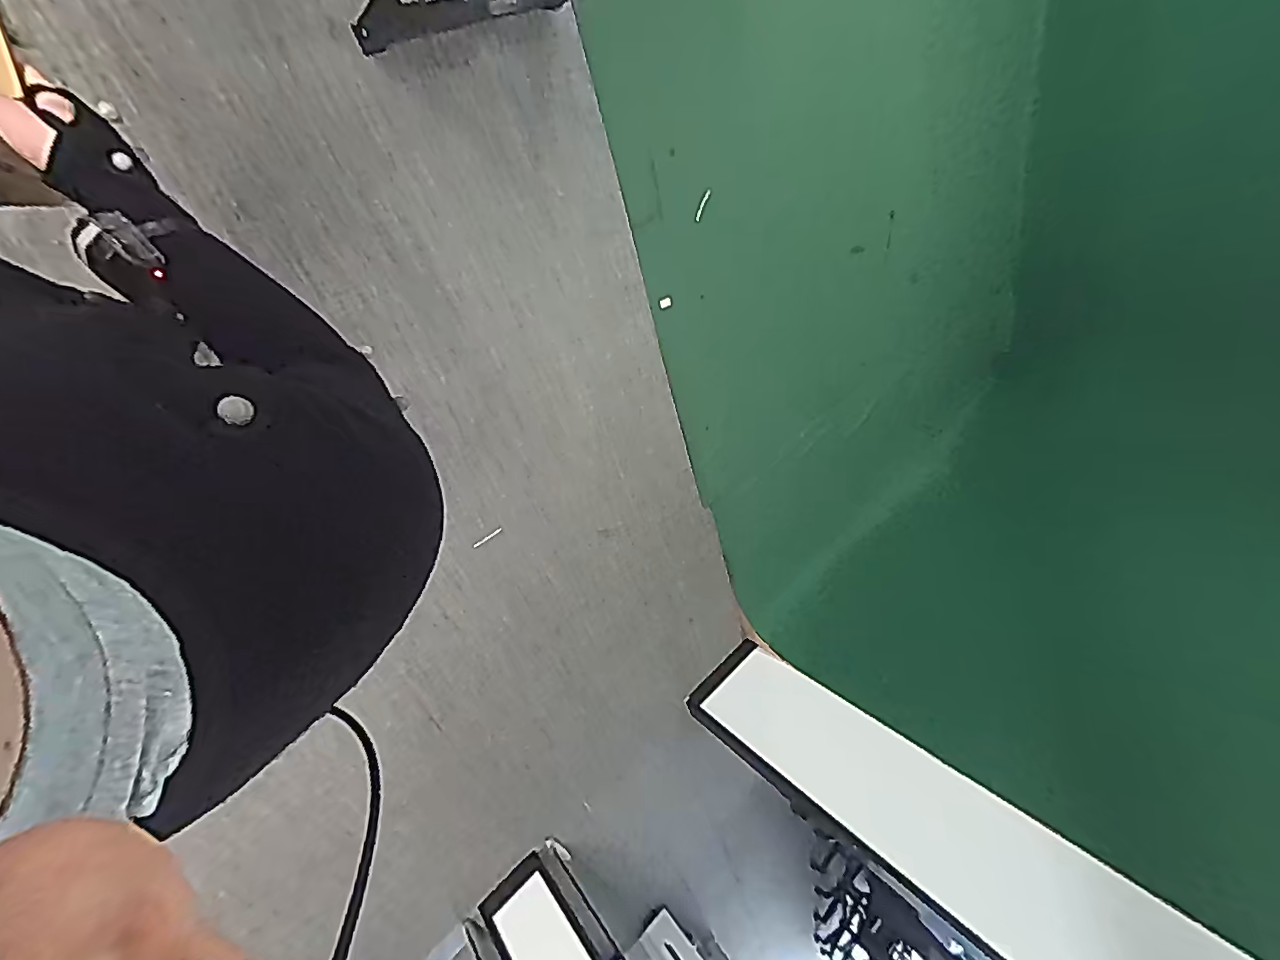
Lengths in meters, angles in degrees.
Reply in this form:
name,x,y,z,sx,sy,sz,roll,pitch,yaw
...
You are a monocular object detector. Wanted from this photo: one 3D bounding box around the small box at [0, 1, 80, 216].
name,x,y,z,sx,sy,sz,roll,pitch,yaw
small box,-0.624,-0.344,0.452,0.168,0.176,0.179,-21,93,-37
